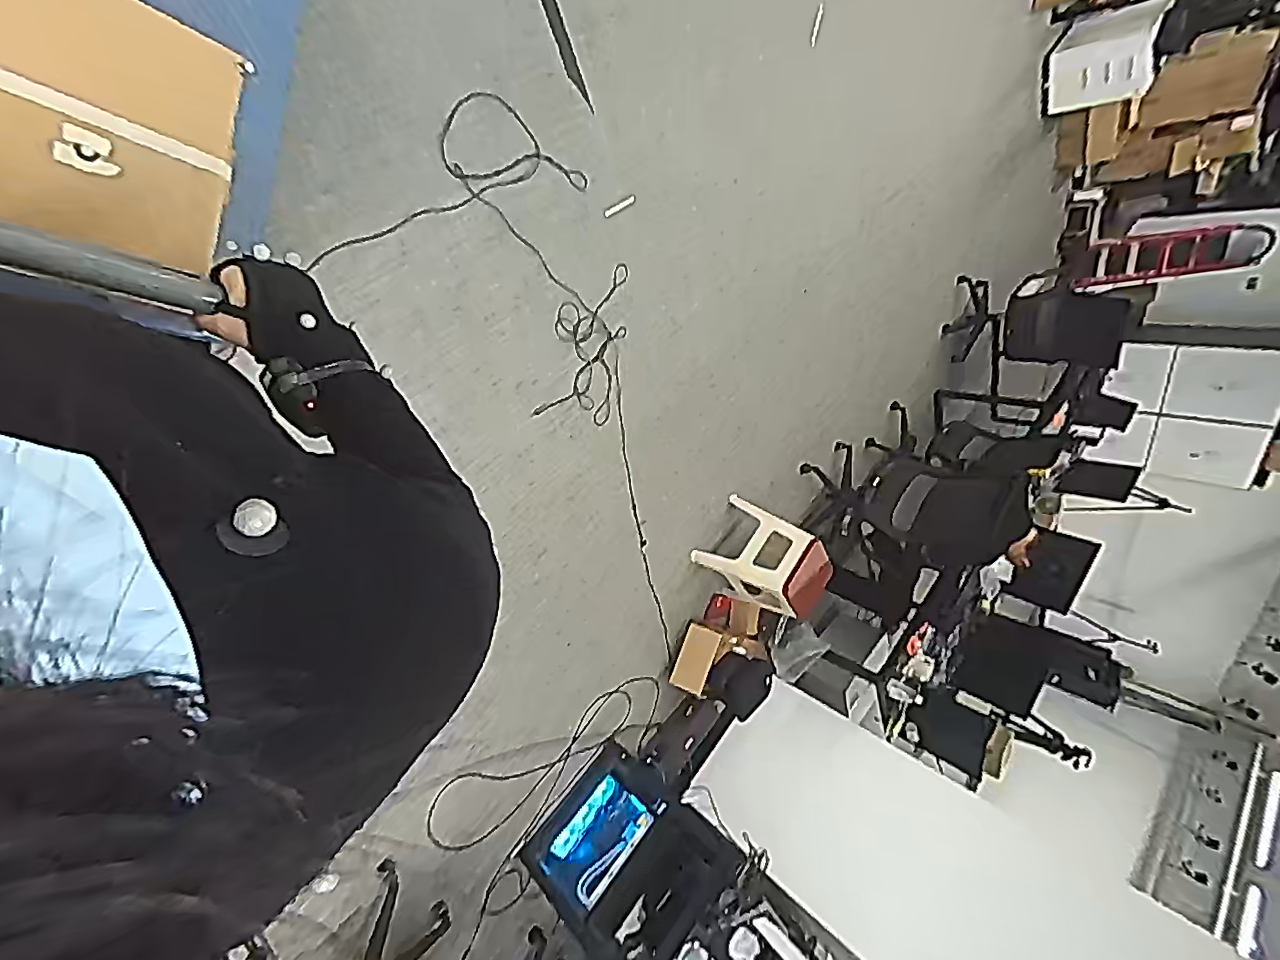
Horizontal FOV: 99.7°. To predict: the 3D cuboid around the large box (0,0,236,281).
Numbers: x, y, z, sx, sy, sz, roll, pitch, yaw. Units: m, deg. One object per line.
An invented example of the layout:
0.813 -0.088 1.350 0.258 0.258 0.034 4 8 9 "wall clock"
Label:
-0.837 -0.490 0.725 0.408 0.320 0.320 9 98 -46 "large box"
